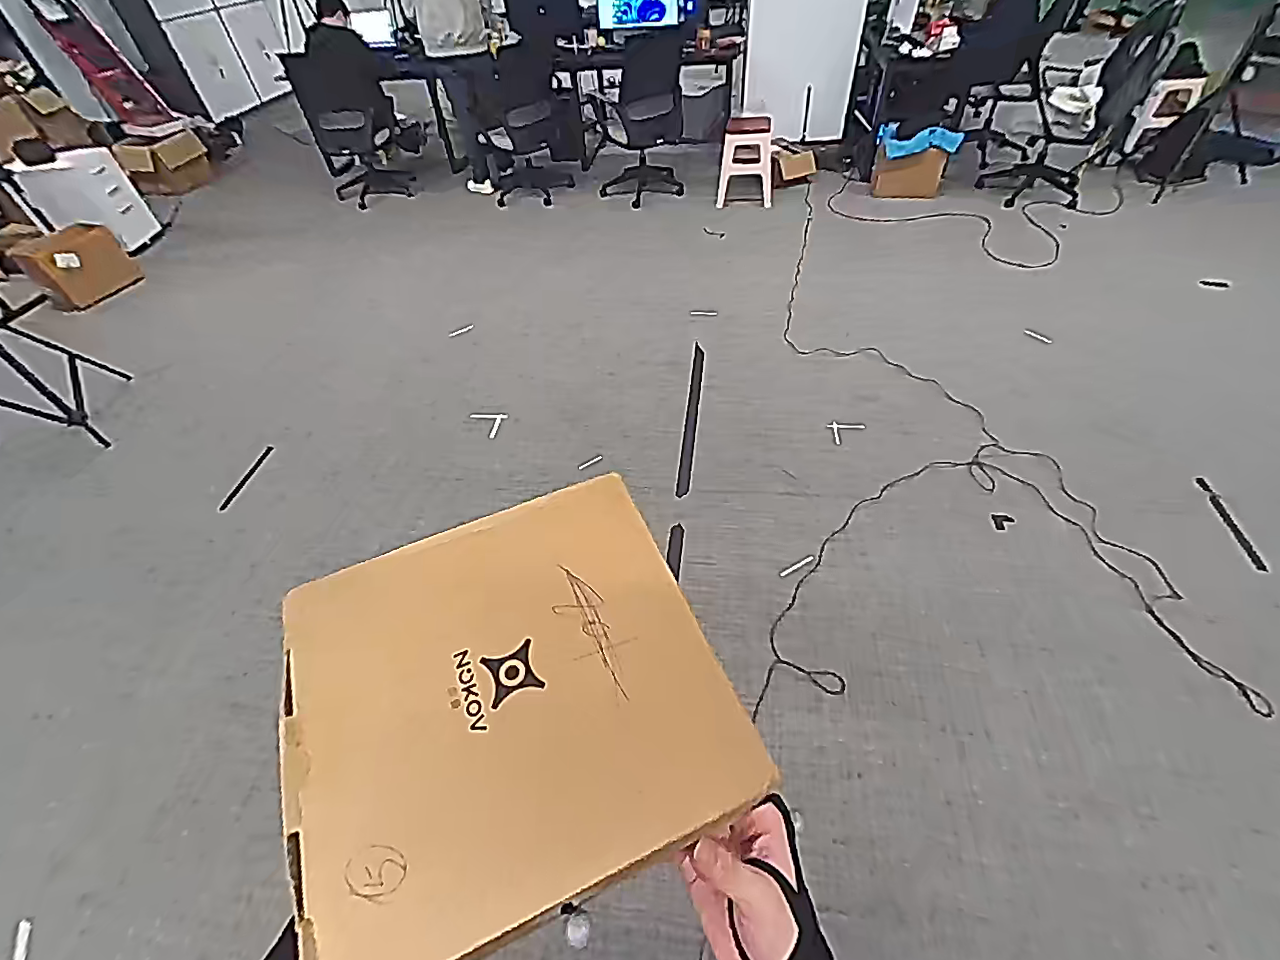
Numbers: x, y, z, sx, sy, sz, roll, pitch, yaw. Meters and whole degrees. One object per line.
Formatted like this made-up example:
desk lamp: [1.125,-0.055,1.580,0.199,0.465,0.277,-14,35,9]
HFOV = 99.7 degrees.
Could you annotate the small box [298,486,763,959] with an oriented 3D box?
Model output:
small box: [-0.056,0.139,0.307,0.179,0.176,0.168,-21,56,-14]
